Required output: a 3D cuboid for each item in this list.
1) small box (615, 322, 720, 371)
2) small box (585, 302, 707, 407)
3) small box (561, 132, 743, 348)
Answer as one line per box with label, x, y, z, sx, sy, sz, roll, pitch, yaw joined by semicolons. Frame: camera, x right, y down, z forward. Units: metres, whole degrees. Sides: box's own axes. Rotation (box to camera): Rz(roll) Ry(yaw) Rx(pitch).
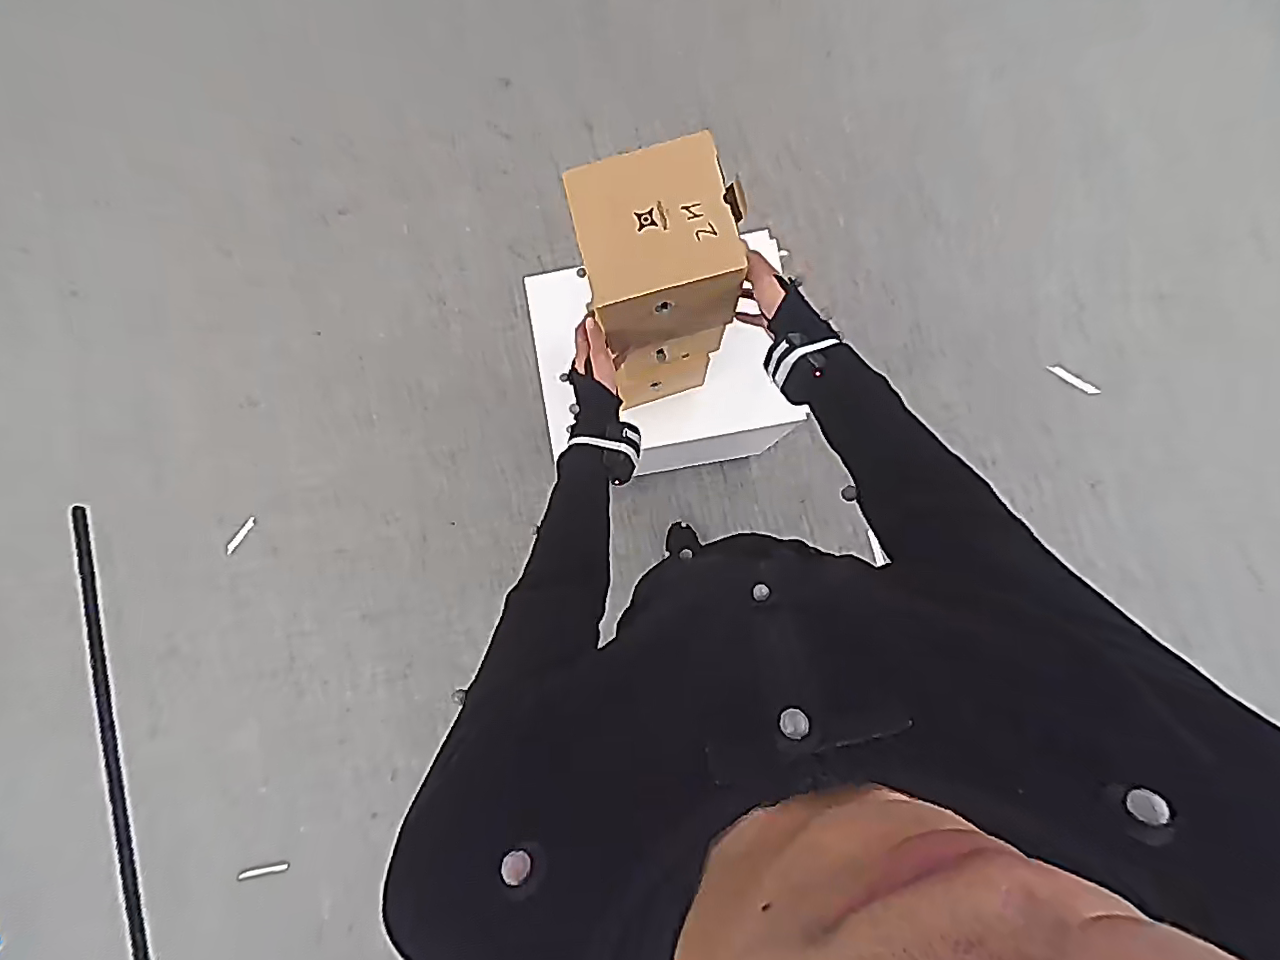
small box;0.026;-0.282;0.842;0.168;0.176;0.179;-17;84;2
small box;0.014;-0.248;1.003;0.179;0.176;0.168;-18;85;1
small box;0.018;-0.282;0.676;0.179;0.176;0.168;-14;85;2
